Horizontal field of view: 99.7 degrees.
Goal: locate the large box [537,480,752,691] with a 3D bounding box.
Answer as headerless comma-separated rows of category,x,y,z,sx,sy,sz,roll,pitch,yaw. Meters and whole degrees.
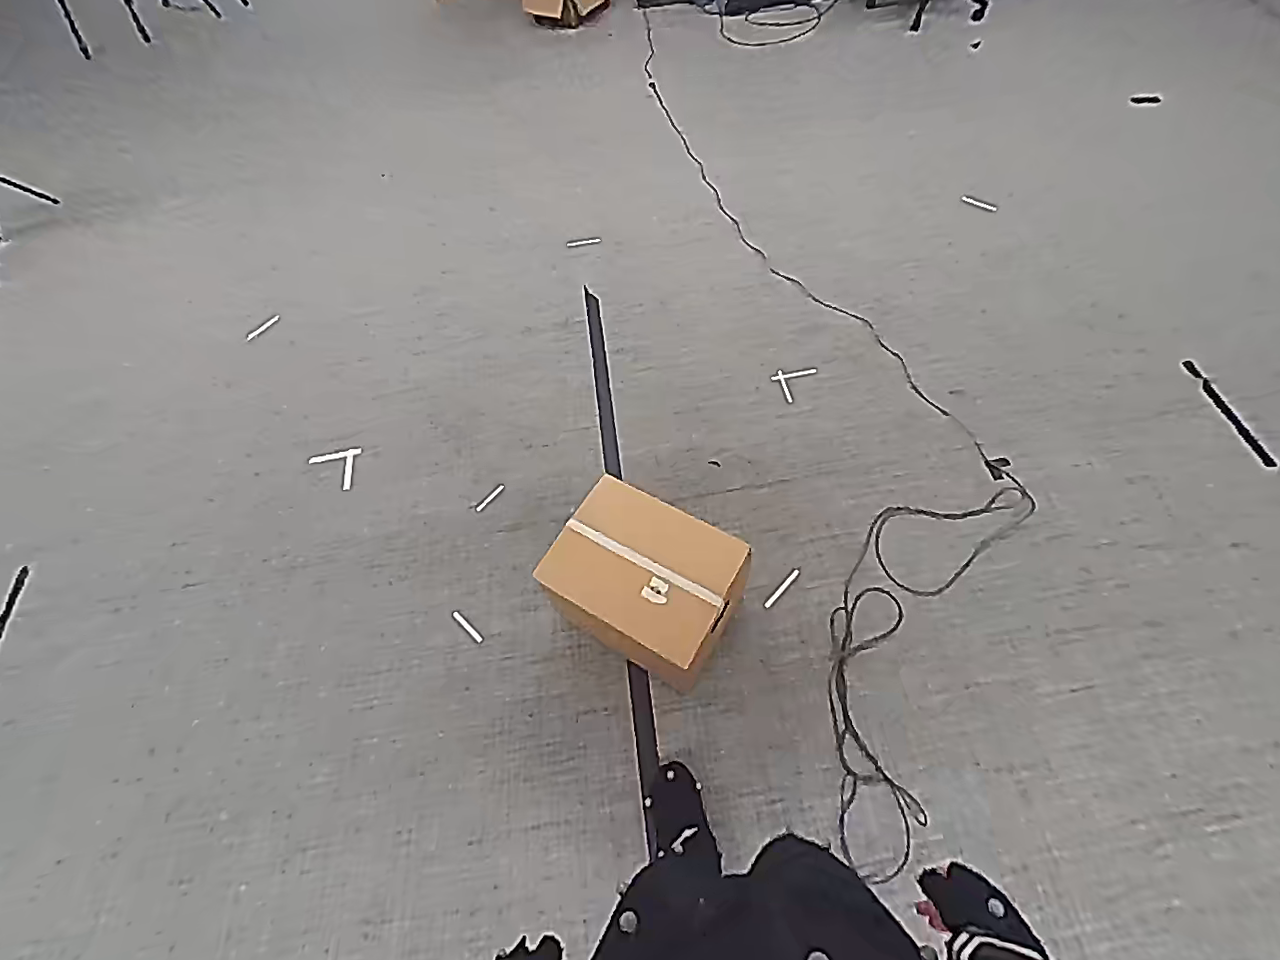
large box,0.017,0.266,1.351,0.408,0.320,0.320,26,66,18
